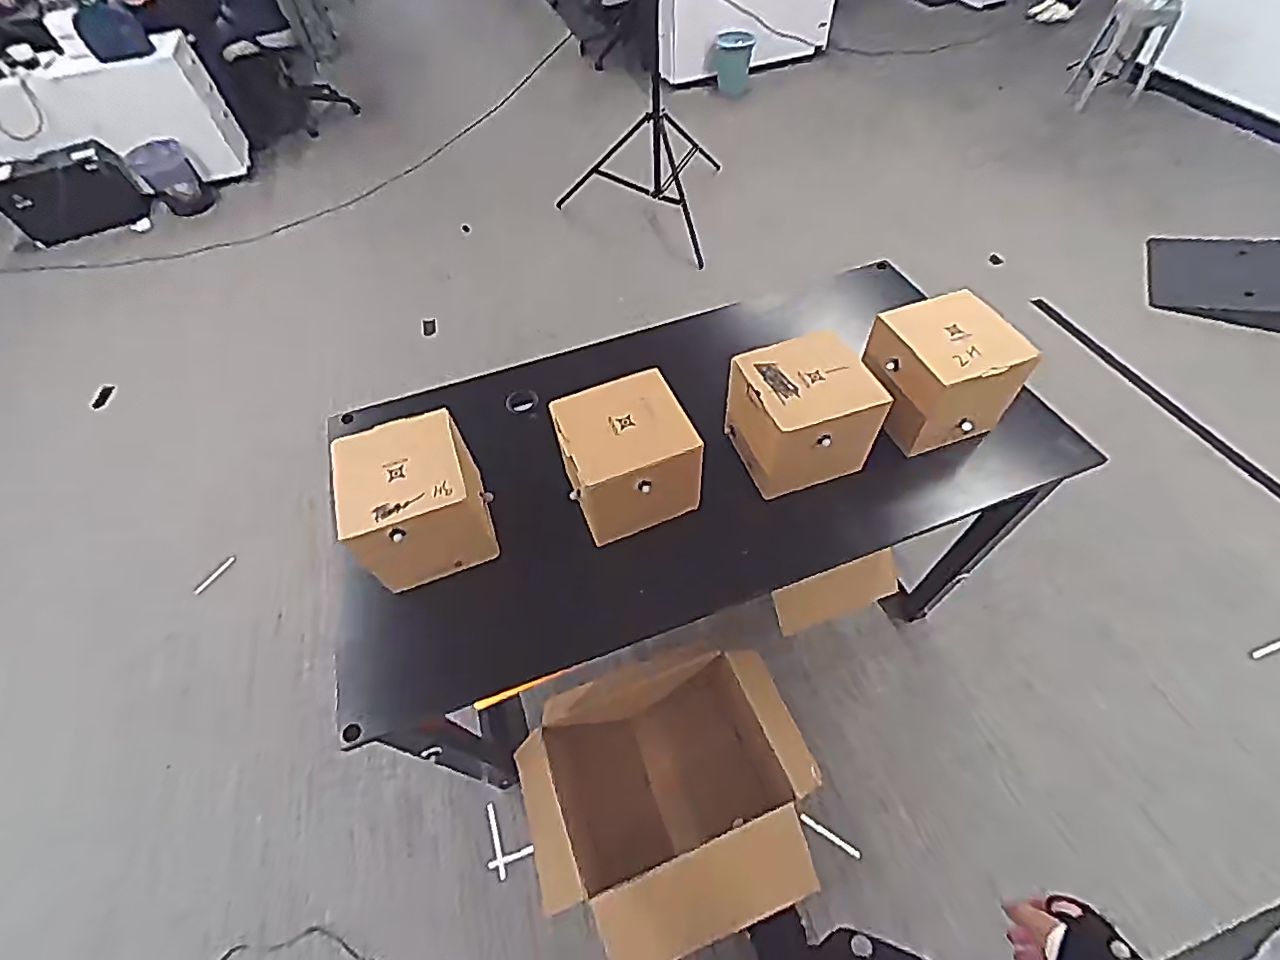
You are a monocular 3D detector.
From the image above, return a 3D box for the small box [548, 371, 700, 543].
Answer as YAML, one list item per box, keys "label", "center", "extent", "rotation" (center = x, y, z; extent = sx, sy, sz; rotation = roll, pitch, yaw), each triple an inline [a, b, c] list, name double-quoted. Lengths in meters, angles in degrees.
- label: "small box"
  center: [-0.021, -0.030, 0.824]
  extent: [0.179, 0.176, 0.168]
  rotation: [-20, 57, -11]

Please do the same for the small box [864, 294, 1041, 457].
- label: "small box"
  center: [0.482, -0.168, 0.882]
  extent: [0.168, 0.176, 0.179]
  rotation: [-17, 55, -6]

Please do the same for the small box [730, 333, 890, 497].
- label: "small box"
  center: [0.249, -0.096, 0.849]
  extent: [0.179, 0.176, 0.168]
  rotation: [-16, 56, -8]

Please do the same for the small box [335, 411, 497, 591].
- label: "small box"
  center: [-0.324, 0.034, 0.797]
  extent: [0.168, 0.176, 0.179]
  rotation: [-19, 56, -10]
